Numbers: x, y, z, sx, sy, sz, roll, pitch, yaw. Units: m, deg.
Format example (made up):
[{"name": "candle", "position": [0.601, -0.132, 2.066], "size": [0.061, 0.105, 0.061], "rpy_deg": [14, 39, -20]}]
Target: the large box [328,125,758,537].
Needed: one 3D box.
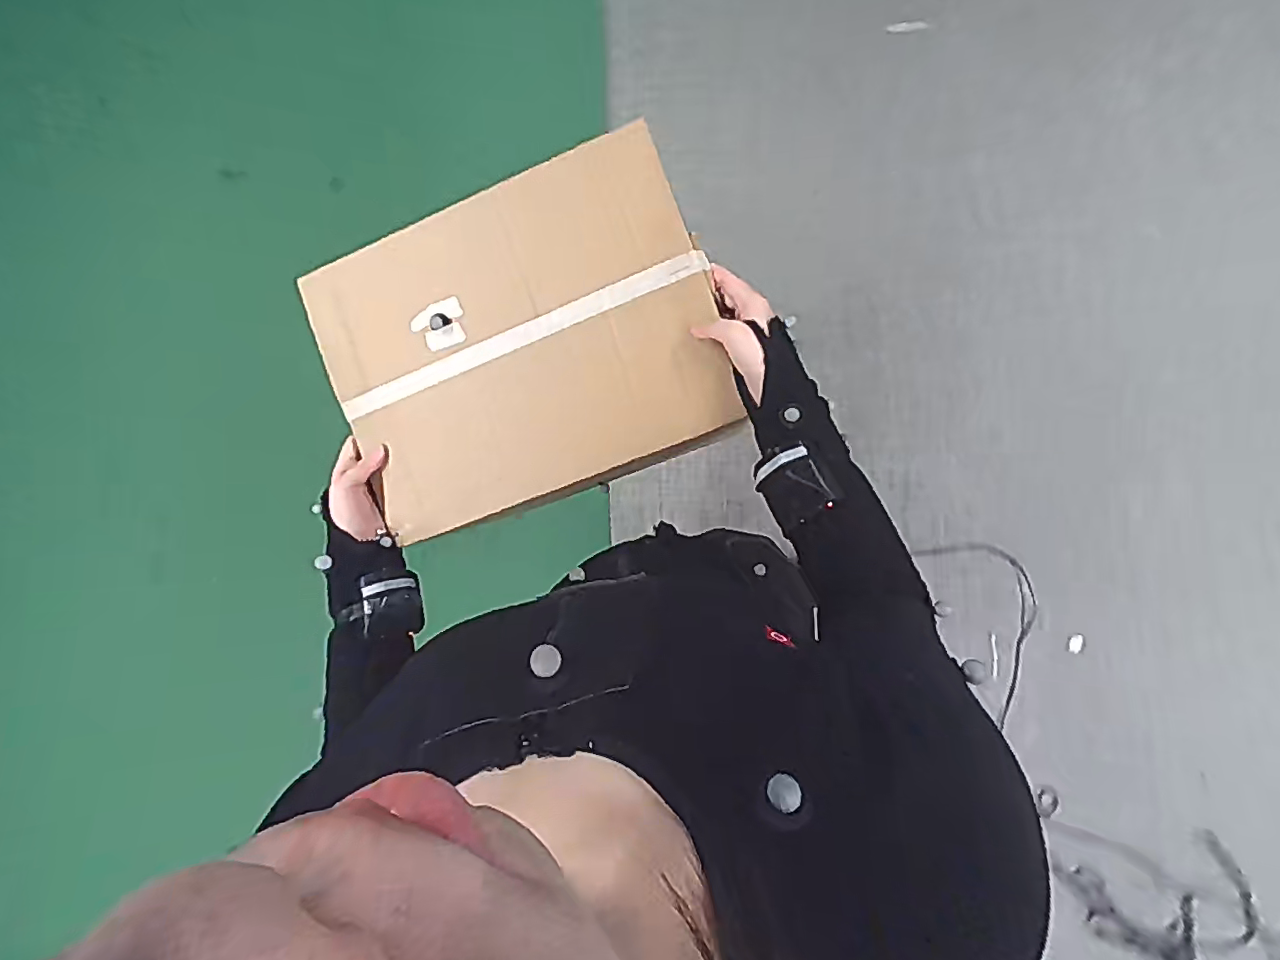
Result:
[{"name": "large box", "position": [-0.091, -0.154, 0.714], "size": [0.408, 0.320, 0.320], "rpy_deg": [-20, 89, 10]}]
